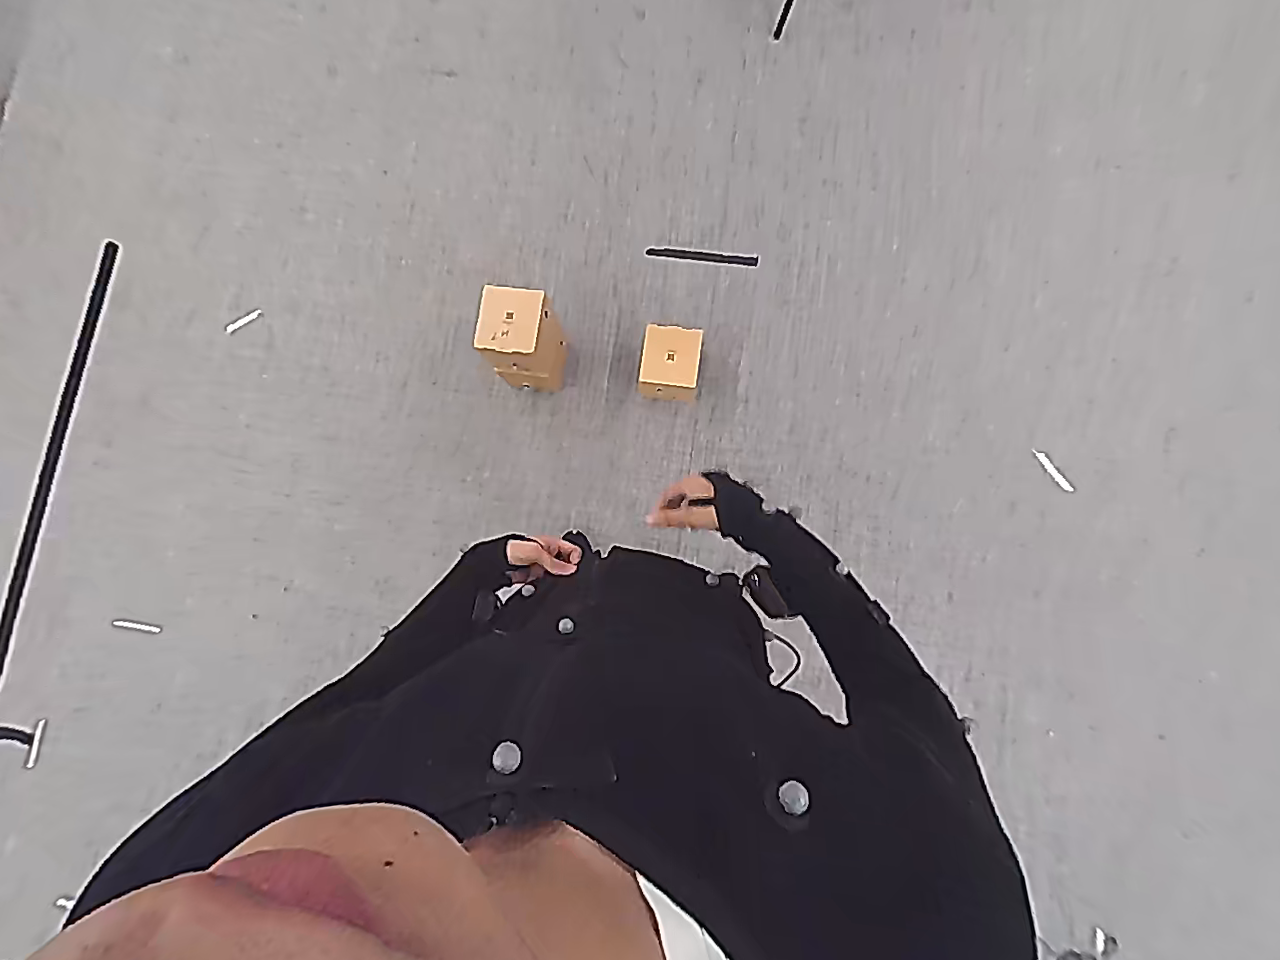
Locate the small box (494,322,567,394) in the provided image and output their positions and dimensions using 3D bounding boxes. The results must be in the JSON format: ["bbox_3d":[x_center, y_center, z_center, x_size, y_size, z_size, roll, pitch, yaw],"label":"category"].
[{"bbox_3d":[-0.323,-0.376,1.638,0.168,0.176,0.179,8,84,5],"label":"small box"}]

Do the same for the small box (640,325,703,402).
[{"bbox_3d":[0.095,-0.342,1.616,0.168,0.176,0.179,7,83,3],"label":"small box"}]

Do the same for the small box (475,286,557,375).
[{"bbox_3d":[-0.330,-0.403,1.476,0.168,0.176,0.179,8,84,5],"label":"small box"}]
